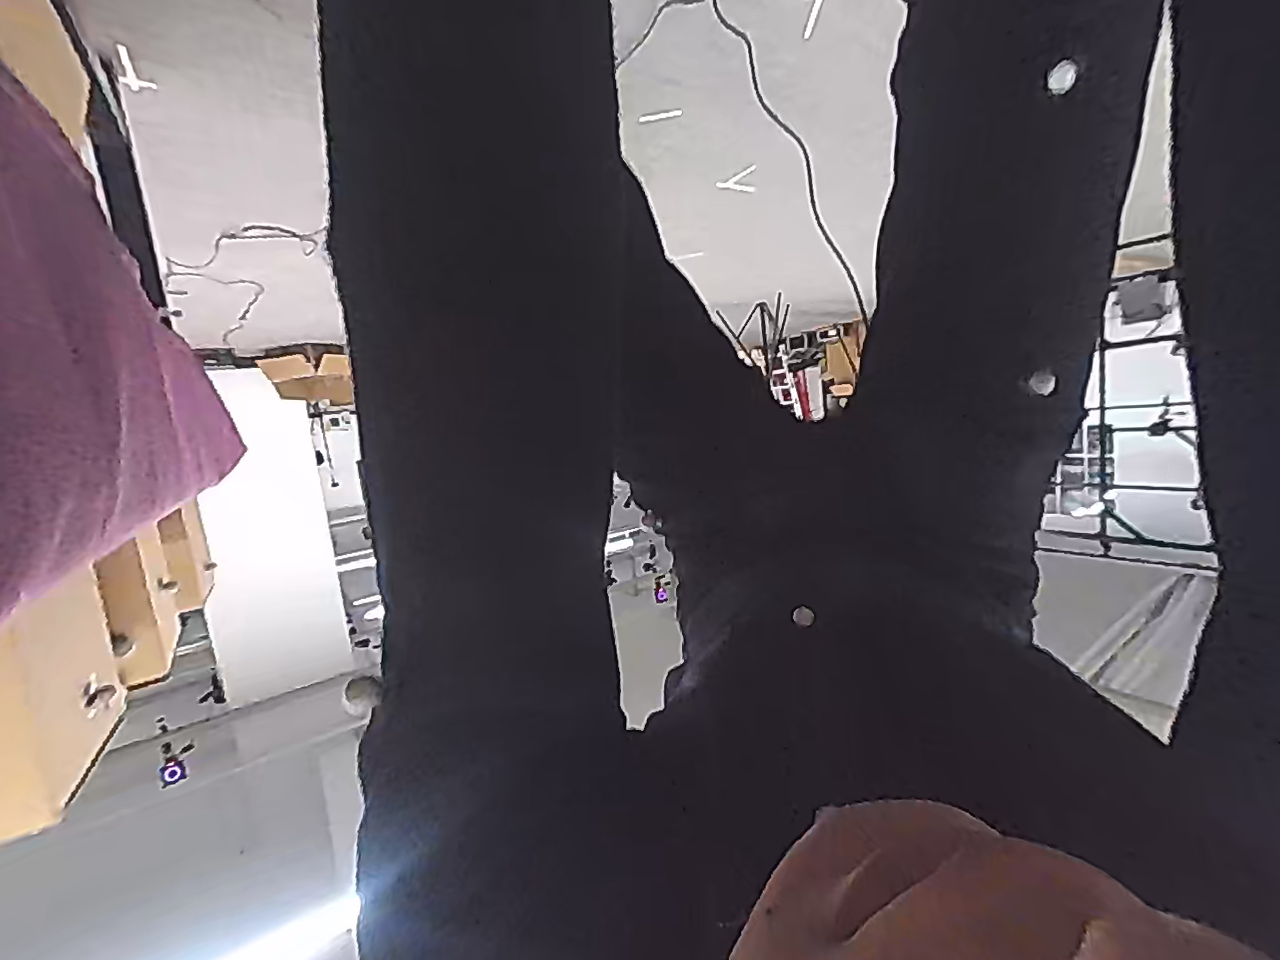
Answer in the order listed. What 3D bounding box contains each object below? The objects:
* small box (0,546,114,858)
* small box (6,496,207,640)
[{"bbox_3d":[-0.479,0.145,0.344,0.168,0.176,0.179,-11,-172,-34],"label":"small box"},{"bbox_3d":[-0.751,0.120,0.781,0.168,0.176,0.179,-13,-171,-34],"label":"small box"}]
